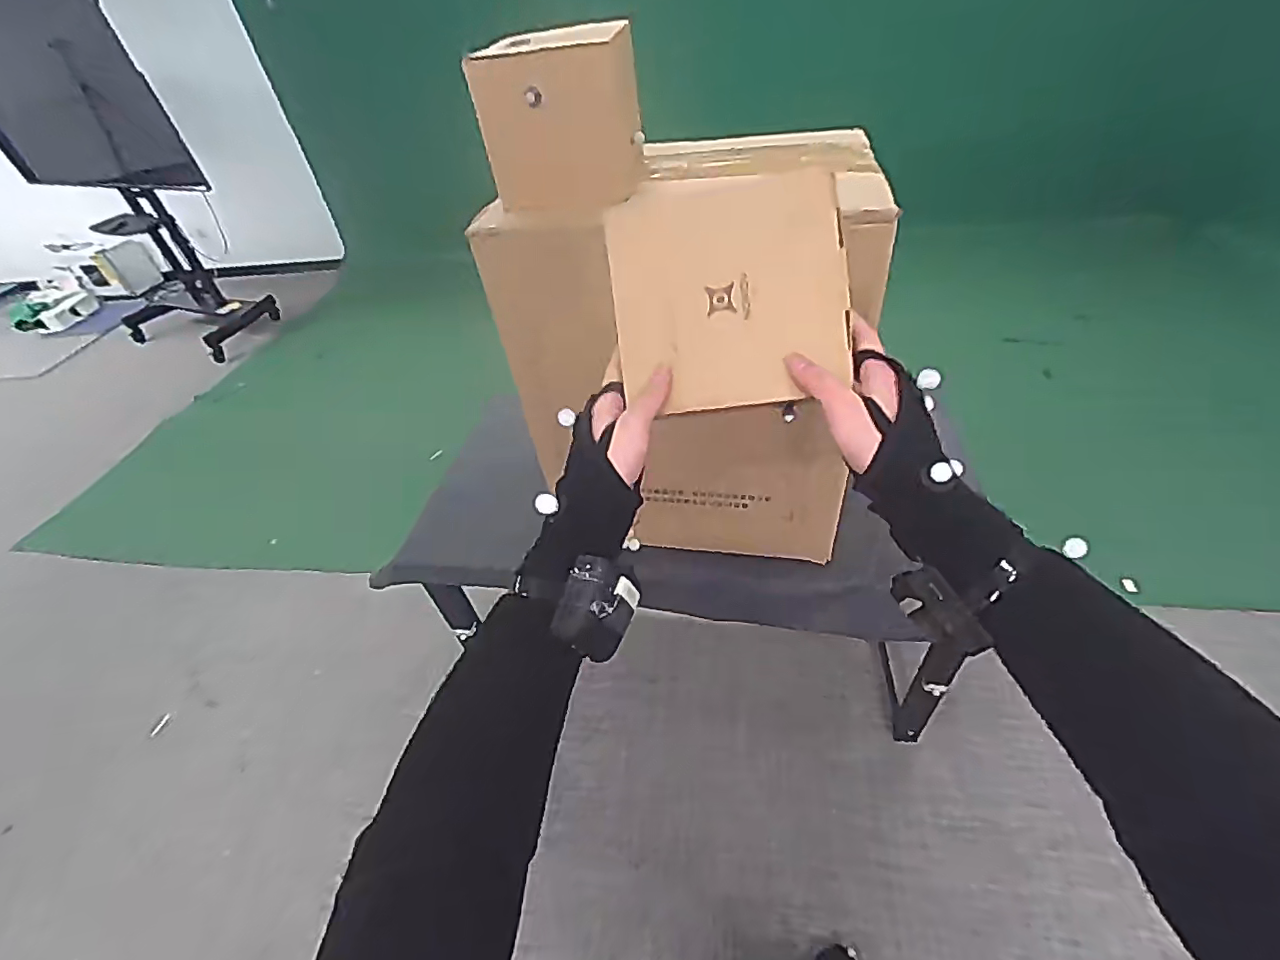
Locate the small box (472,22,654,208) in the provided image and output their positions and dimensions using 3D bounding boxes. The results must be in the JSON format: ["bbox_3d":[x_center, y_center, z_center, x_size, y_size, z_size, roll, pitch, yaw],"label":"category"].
[{"bbox_3d":[-0.088,-0.482,0.726,0.179,0.176,0.168,3,48,14],"label":"small box"}]

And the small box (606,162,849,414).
[{"bbox_3d":[0.081,-0.151,0.492,0.179,0.168,0.176,-5,4,14],"label":"small box"}]
